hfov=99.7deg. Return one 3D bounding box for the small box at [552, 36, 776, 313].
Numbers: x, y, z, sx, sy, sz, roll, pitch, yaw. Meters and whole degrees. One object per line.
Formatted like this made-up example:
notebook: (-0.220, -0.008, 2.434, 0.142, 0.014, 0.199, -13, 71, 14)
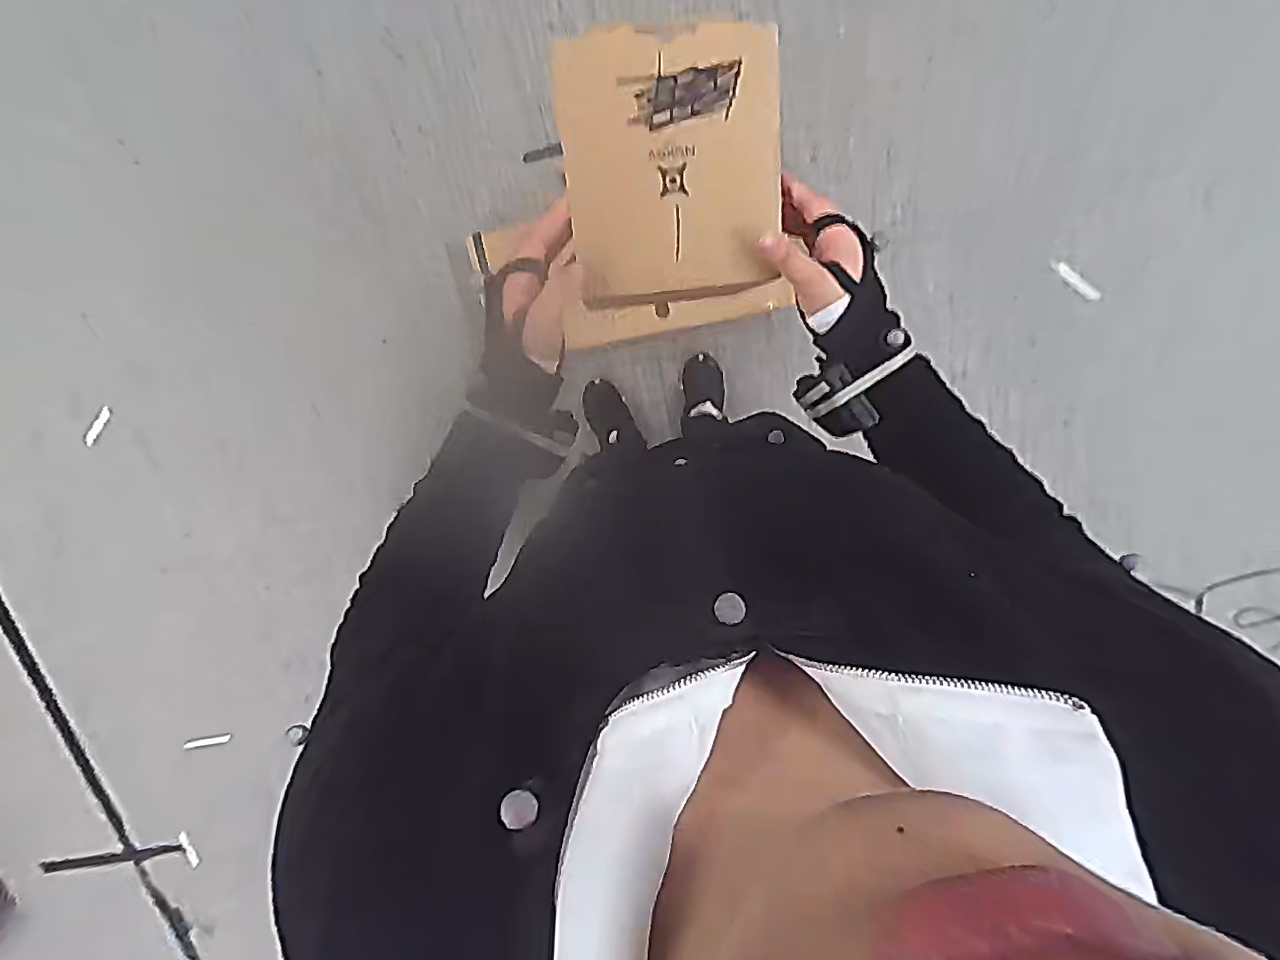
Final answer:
small box: (0.018, -0.256, 0.496, 0.168, 0.176, 0.179, -7, 104, -1)
